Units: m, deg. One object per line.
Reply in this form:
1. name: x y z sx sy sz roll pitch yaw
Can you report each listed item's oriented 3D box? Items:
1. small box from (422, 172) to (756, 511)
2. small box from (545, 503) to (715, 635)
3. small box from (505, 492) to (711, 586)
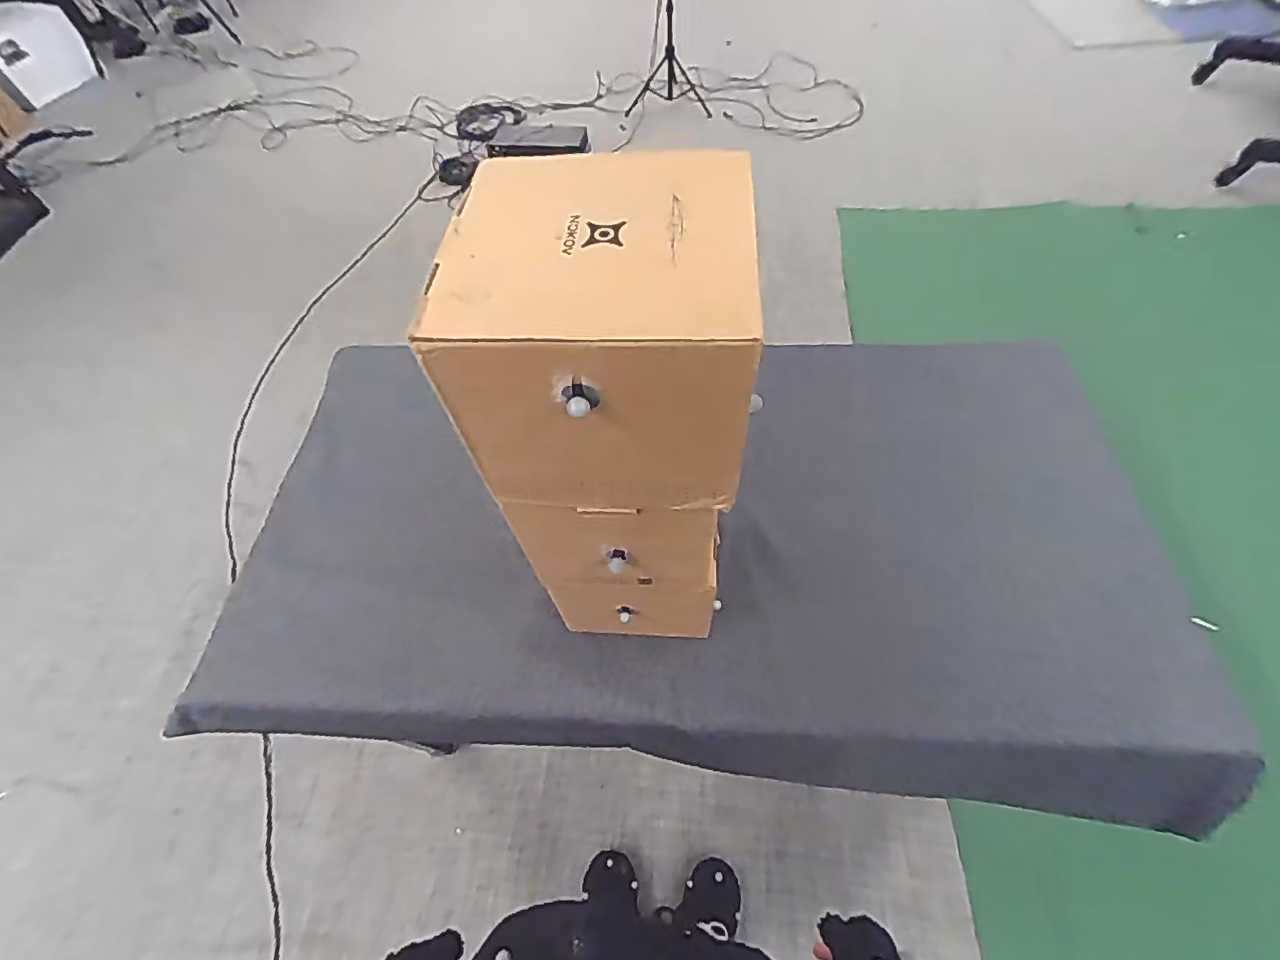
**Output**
1. small box: -0.018 -0.088 0.382 0.179 0.176 0.168 1 58 4
2. small box: -0.002 0.083 0.659 0.179 0.176 0.168 1 57 5
3. small box: -0.016 -0.006 0.523 0.168 0.176 0.179 0 57 4
